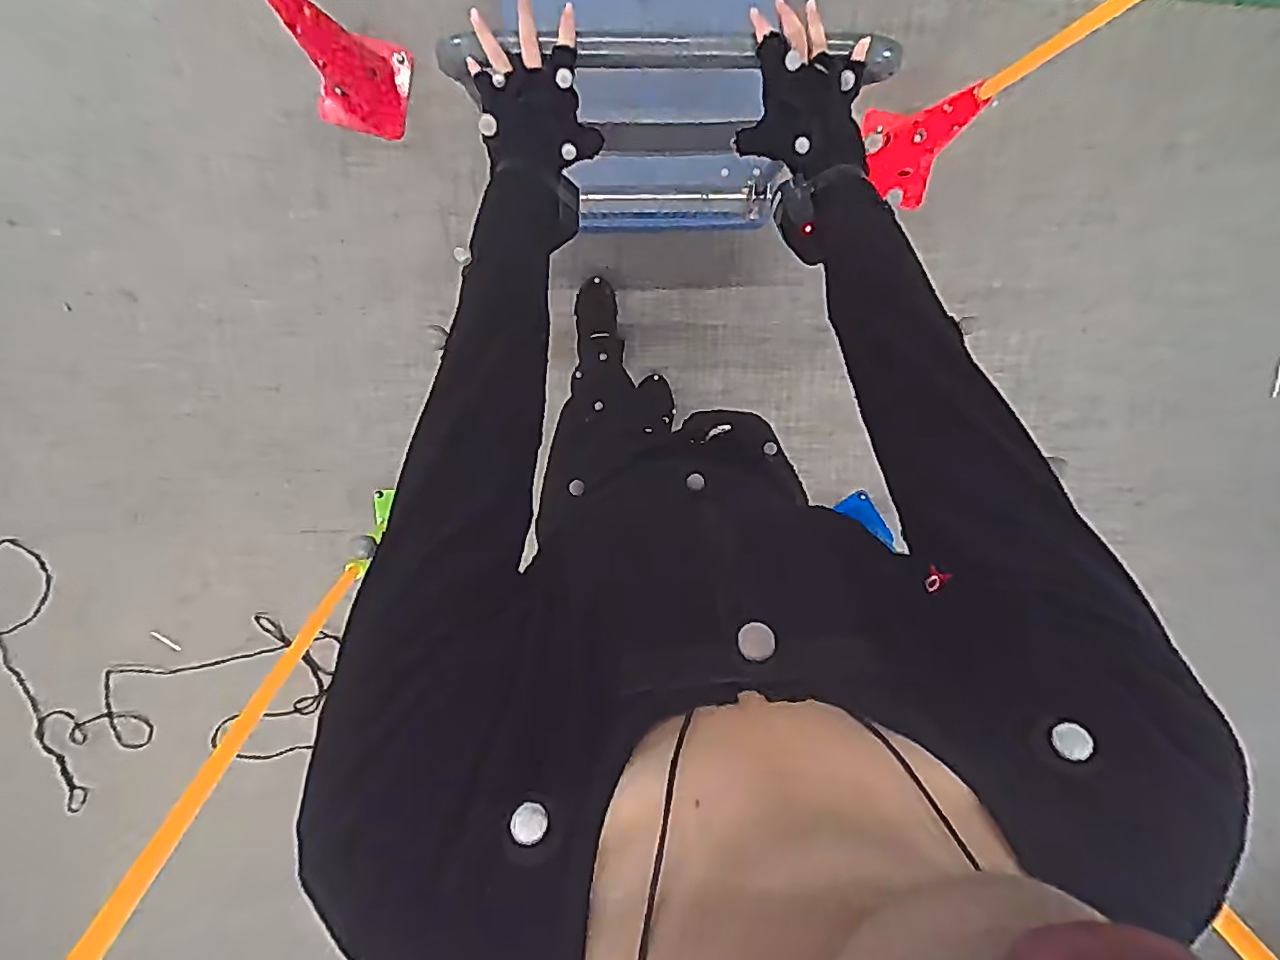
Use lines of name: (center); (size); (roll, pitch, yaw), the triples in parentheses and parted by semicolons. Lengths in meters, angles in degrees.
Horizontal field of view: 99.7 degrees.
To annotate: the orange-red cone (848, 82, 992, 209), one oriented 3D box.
orange-red cone: (0.635, -0.757, 1.177); (0.198, 0.360, 0.199); (11, 102, -3)
